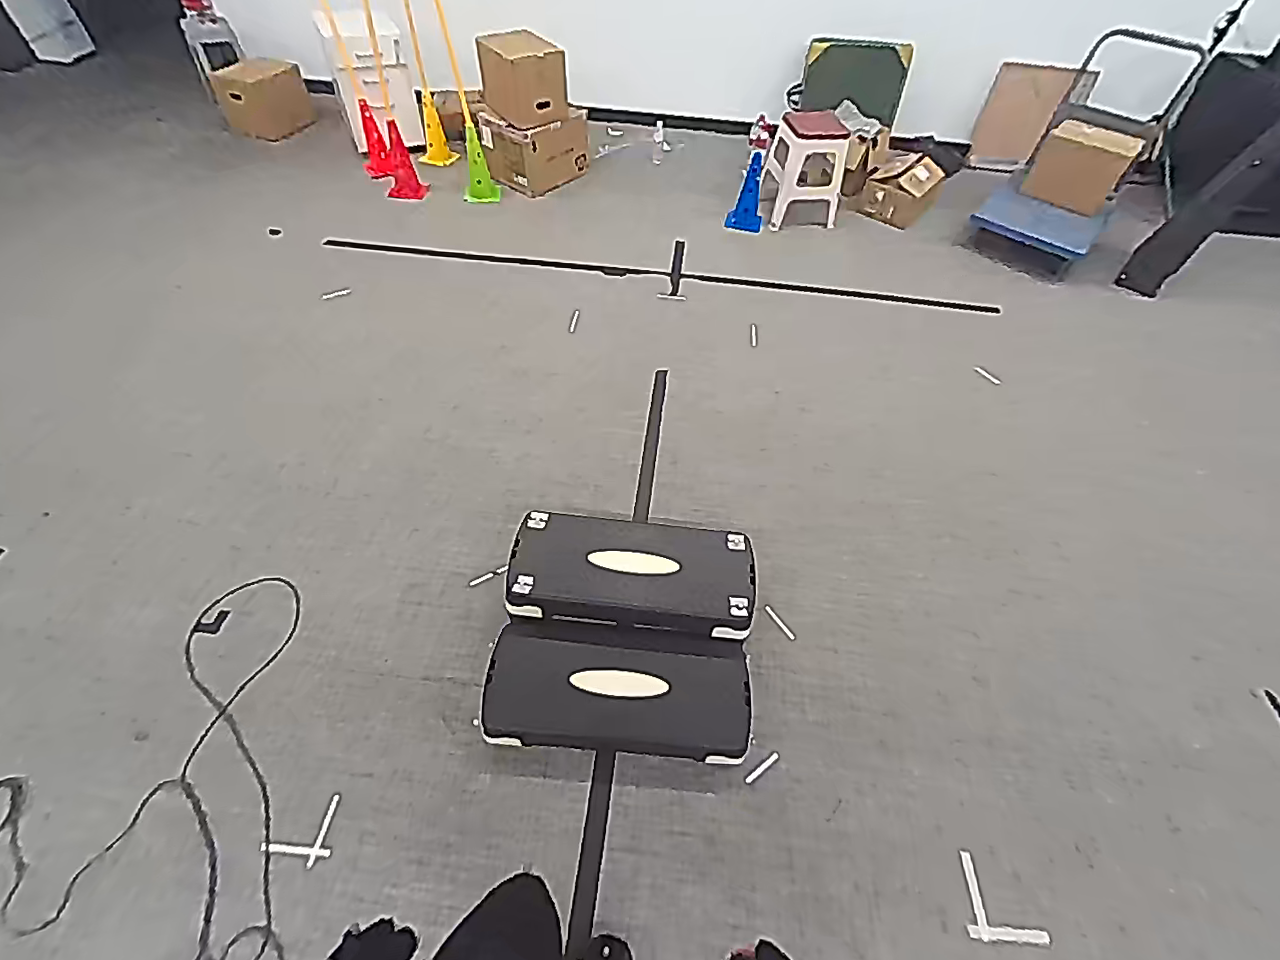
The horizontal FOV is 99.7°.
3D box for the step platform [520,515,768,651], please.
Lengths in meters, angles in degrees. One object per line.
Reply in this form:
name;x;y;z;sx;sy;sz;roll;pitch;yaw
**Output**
step platform;0.012;0.287;1.536;0.684;0.204;0.286;6;52;0
